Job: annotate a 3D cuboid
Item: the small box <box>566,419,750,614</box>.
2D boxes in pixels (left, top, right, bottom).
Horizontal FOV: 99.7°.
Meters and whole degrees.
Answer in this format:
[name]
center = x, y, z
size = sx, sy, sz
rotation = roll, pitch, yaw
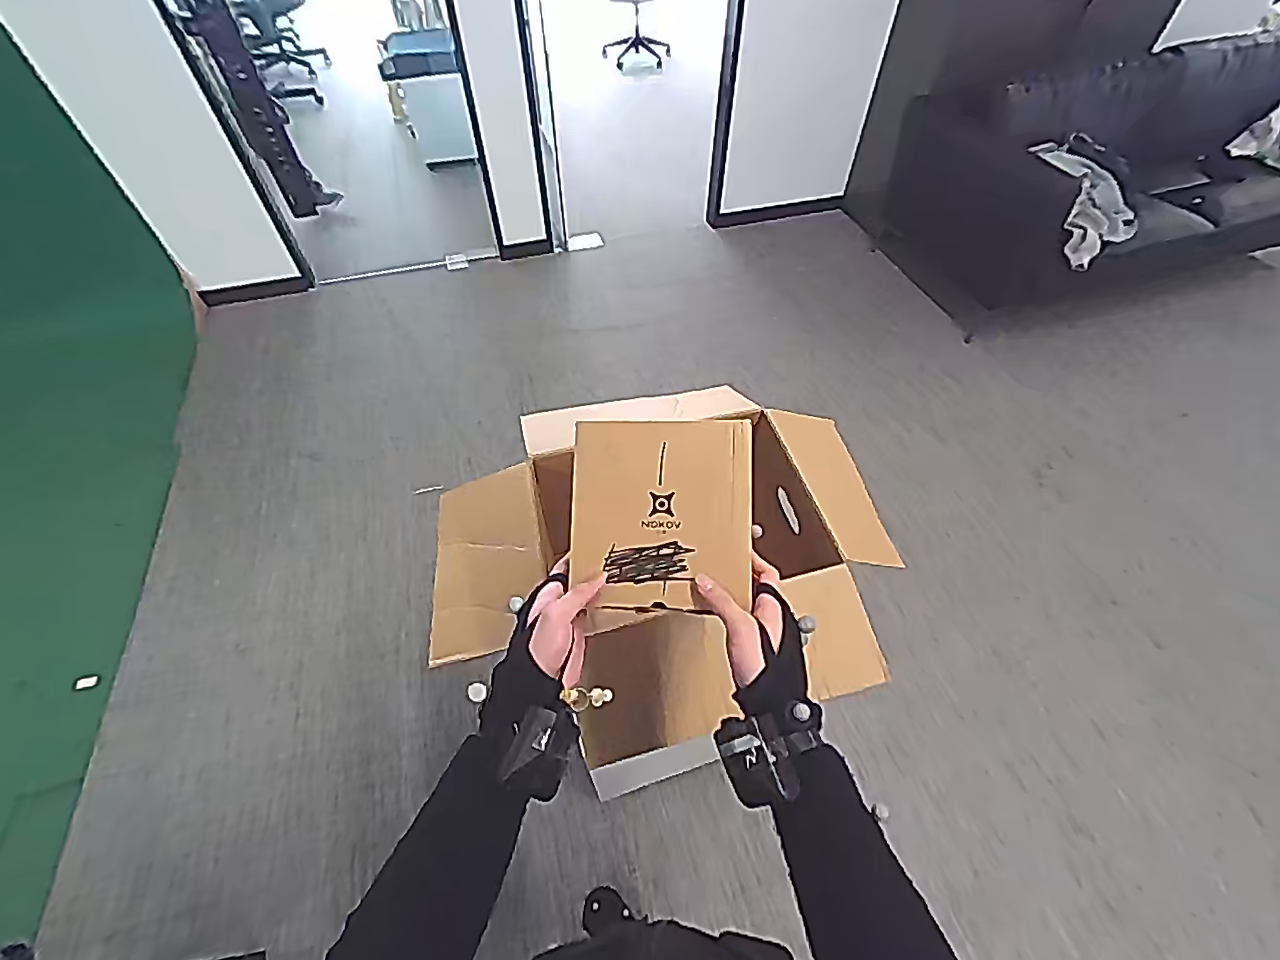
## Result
[small box]
center = 0.025, 0.041, 0.574
size = 0.168, 0.176, 0.179
rotation = 2, 81, 5
